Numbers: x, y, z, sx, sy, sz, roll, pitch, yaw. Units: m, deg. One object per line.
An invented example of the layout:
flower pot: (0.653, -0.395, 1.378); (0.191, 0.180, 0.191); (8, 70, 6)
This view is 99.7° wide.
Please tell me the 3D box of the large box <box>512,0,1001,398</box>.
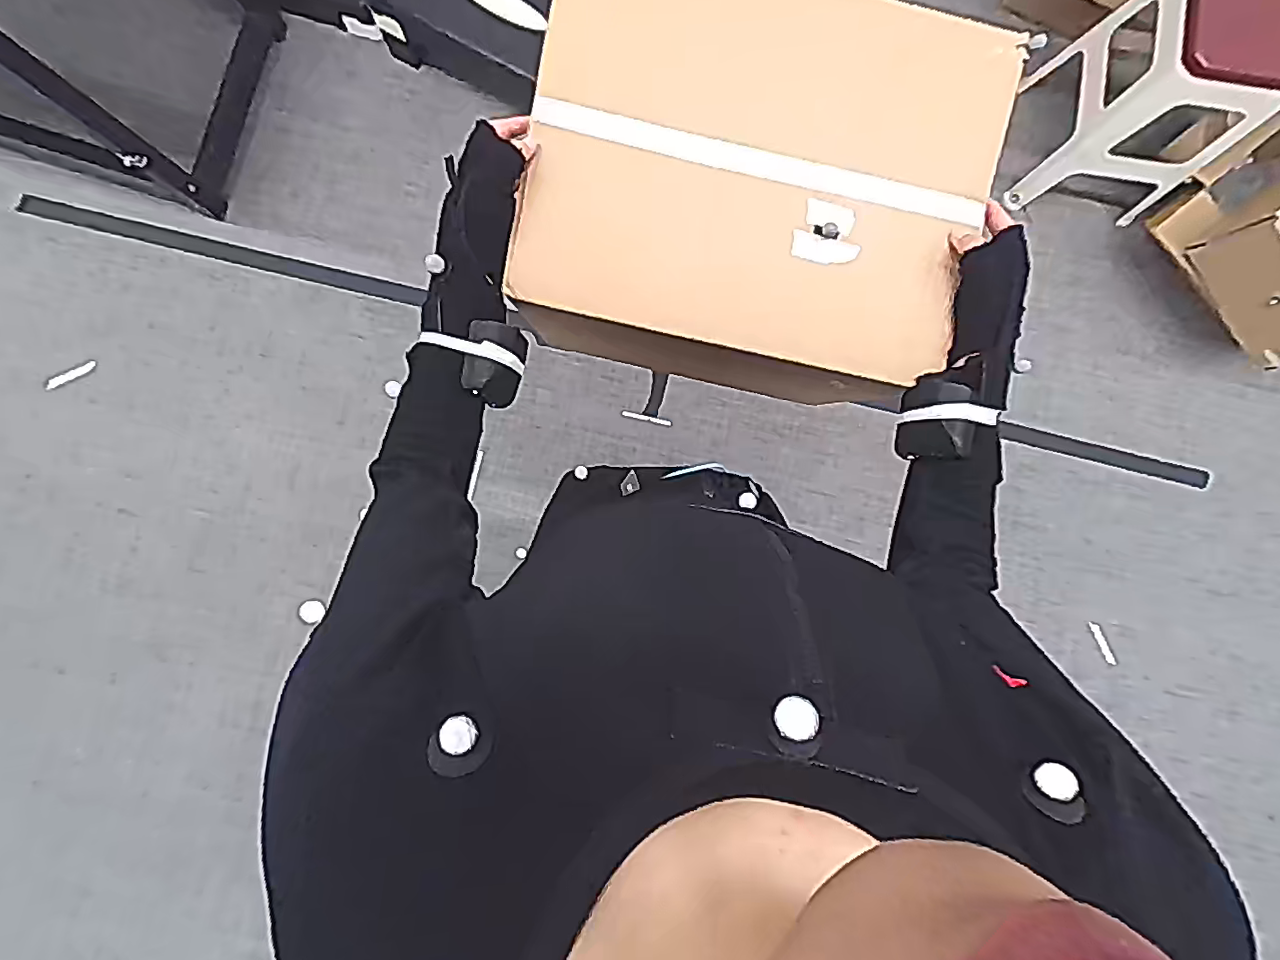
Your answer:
large box: (0.097, -0.292, 0.636); (0.408, 0.320, 0.320); (12, 96, -4)
